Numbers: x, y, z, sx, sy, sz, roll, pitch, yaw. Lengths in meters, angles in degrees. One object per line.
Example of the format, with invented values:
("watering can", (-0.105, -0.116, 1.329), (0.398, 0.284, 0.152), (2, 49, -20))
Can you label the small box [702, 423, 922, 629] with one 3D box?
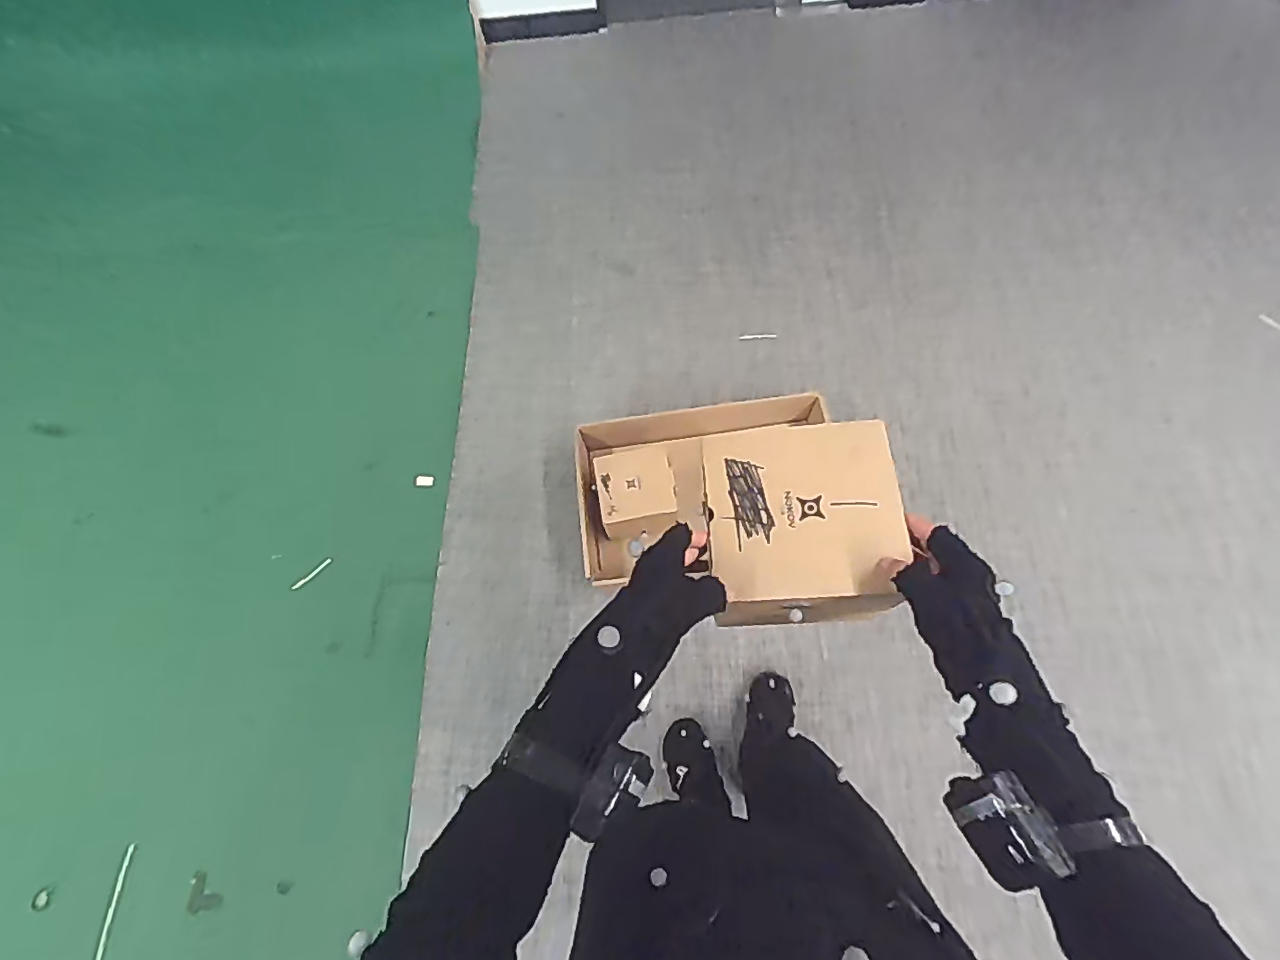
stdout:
("small box", (0.161, 0.059, 0.566), (0.179, 0.176, 0.168), (-5, 66, 6))

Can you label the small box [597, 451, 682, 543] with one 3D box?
("small box", (-0.002, 0.046, 1.315), (0.179, 0.176, 0.168), (-10, 69, -1))
